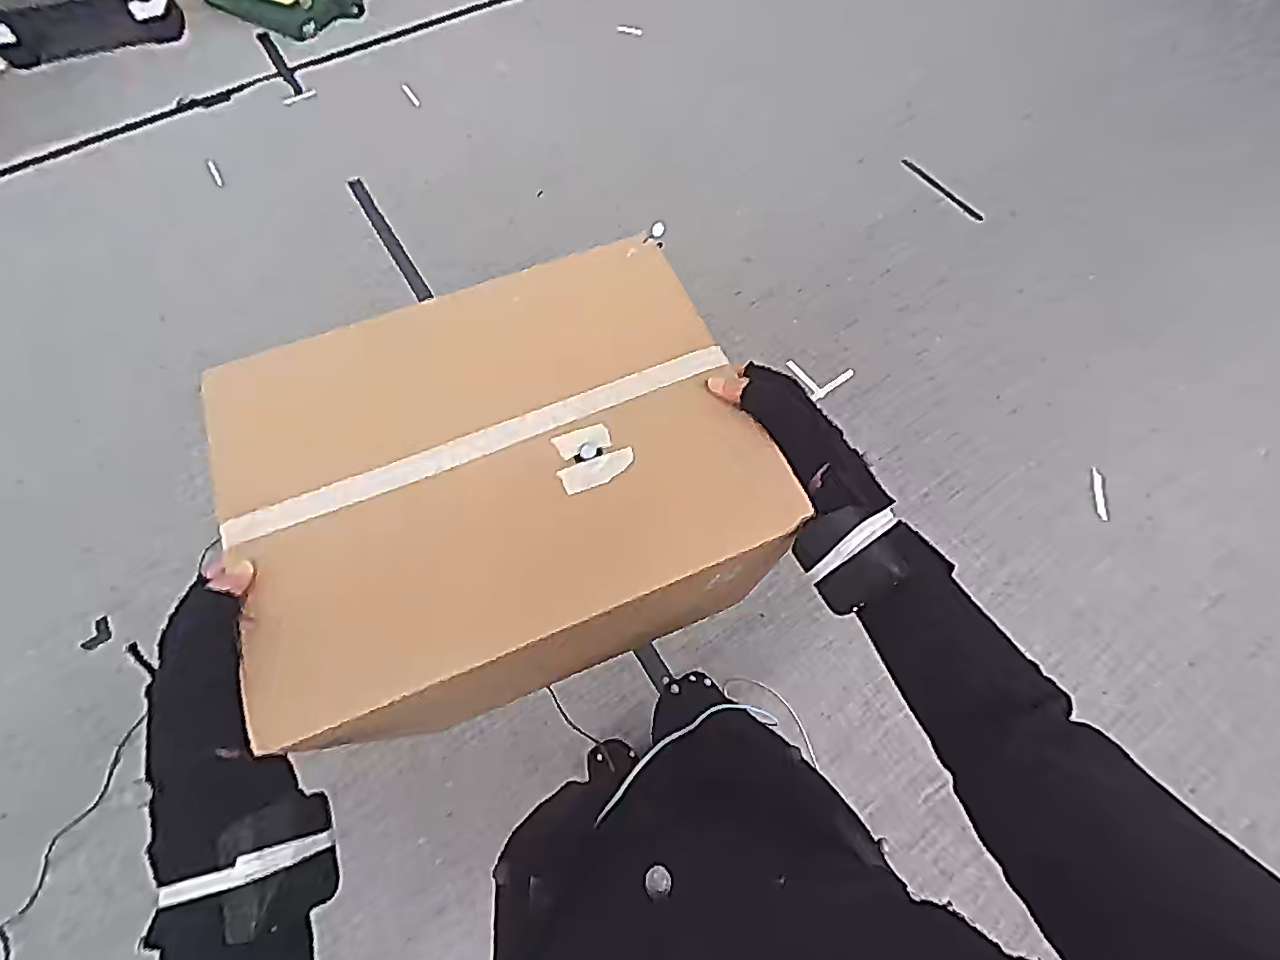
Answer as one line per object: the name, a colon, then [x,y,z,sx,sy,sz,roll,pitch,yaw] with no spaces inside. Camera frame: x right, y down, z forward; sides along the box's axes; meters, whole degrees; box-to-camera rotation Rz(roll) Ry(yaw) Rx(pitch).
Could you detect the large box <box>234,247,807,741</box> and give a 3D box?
large box: [-0.109,0.032,0.575,0.408,0.320,0.320,-21,69,-9]
